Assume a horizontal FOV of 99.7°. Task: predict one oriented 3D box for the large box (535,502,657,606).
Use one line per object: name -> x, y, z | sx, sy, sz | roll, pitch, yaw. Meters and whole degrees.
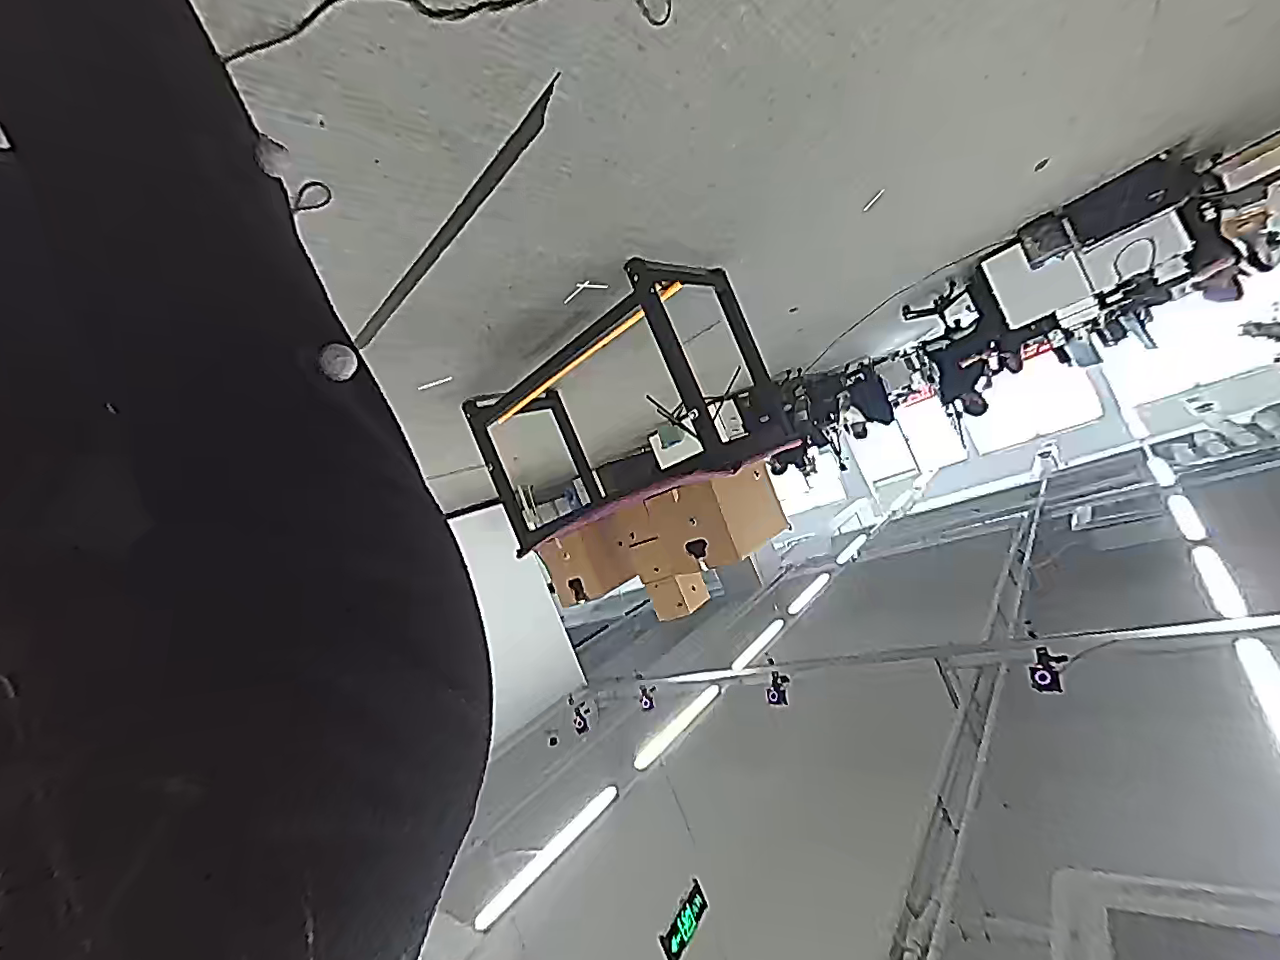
large box -> -0.202, 0.334, 2.494 | 0.320, 0.320, 0.408 | -24, 179, 40
